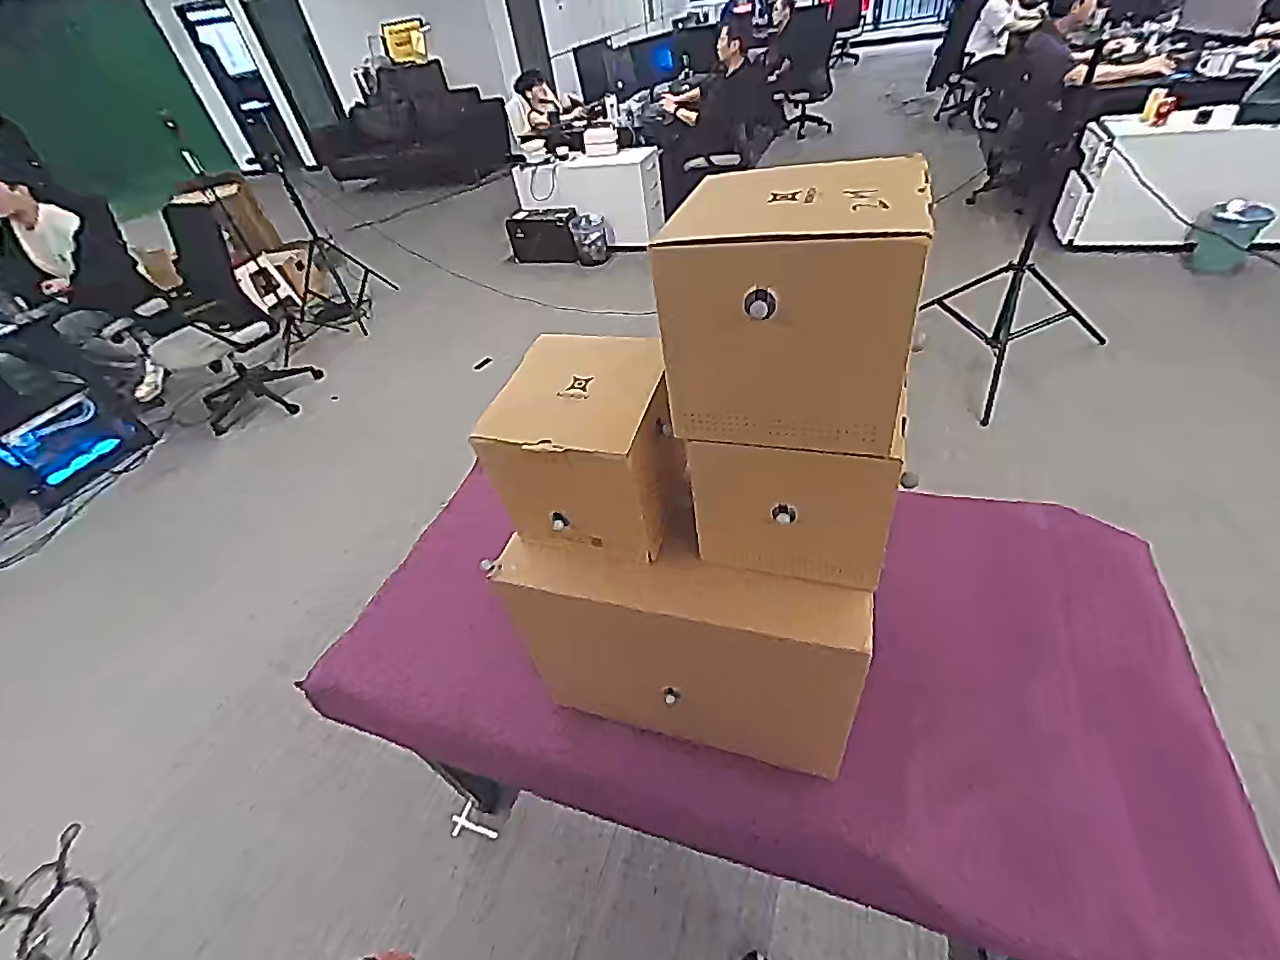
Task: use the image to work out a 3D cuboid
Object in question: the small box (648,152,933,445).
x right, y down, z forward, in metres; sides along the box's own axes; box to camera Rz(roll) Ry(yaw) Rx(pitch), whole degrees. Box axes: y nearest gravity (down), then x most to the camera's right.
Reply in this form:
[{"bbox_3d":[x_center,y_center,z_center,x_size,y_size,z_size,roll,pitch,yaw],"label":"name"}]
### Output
[{"bbox_3d":[0.123,-0.144,0.438,0.179,0.176,0.168,7,45,20],"label":"small box"}]
